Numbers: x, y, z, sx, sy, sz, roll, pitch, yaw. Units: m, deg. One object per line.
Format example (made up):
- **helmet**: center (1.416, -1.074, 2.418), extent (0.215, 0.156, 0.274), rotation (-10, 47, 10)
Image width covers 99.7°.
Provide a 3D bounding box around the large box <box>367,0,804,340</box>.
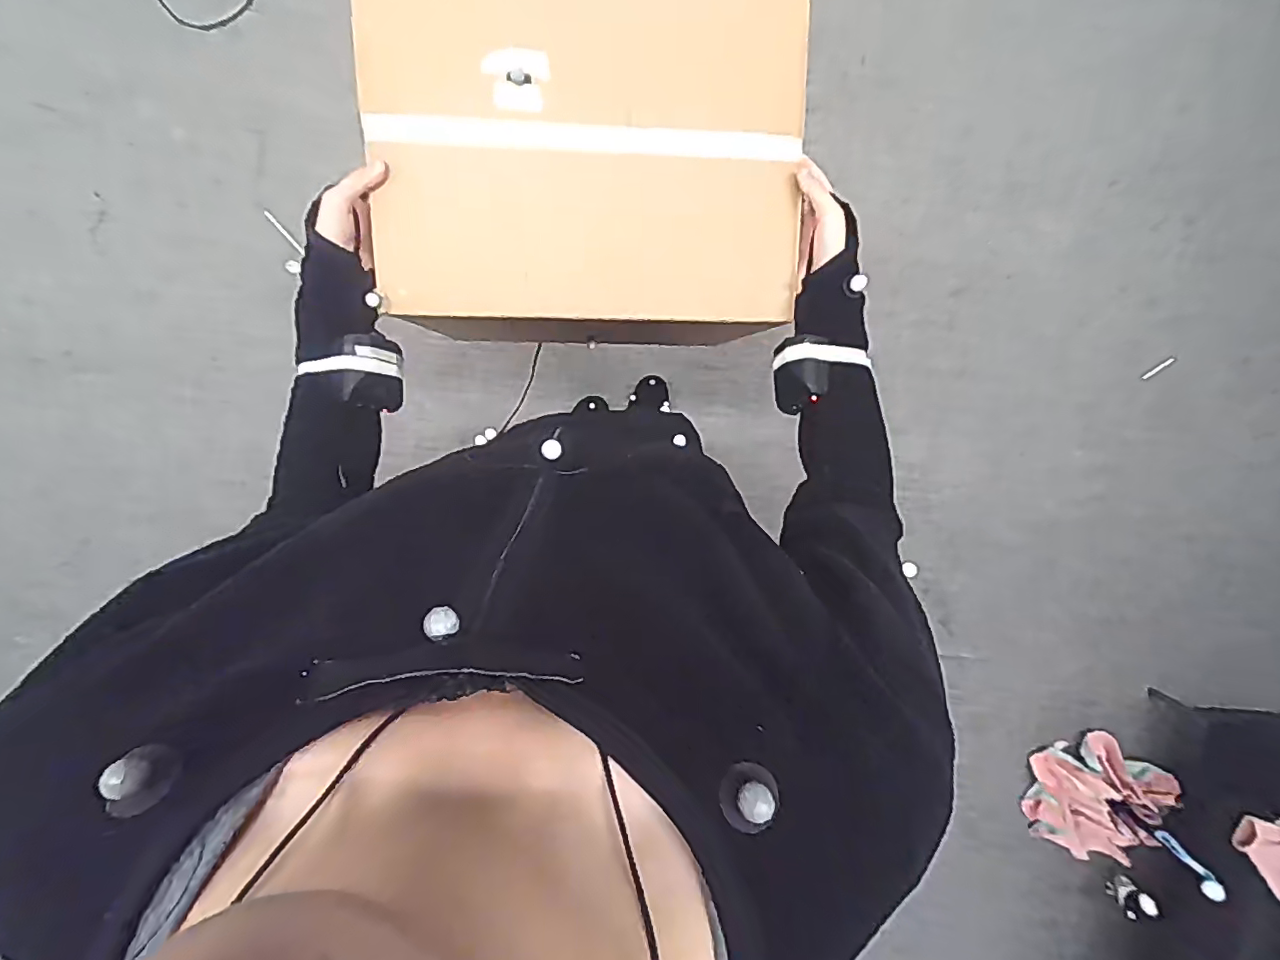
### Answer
- **large box**: center (-0.054, -0.338, 0.658), extent (0.408, 0.320, 0.320), rotation (-1, 99, -6)
